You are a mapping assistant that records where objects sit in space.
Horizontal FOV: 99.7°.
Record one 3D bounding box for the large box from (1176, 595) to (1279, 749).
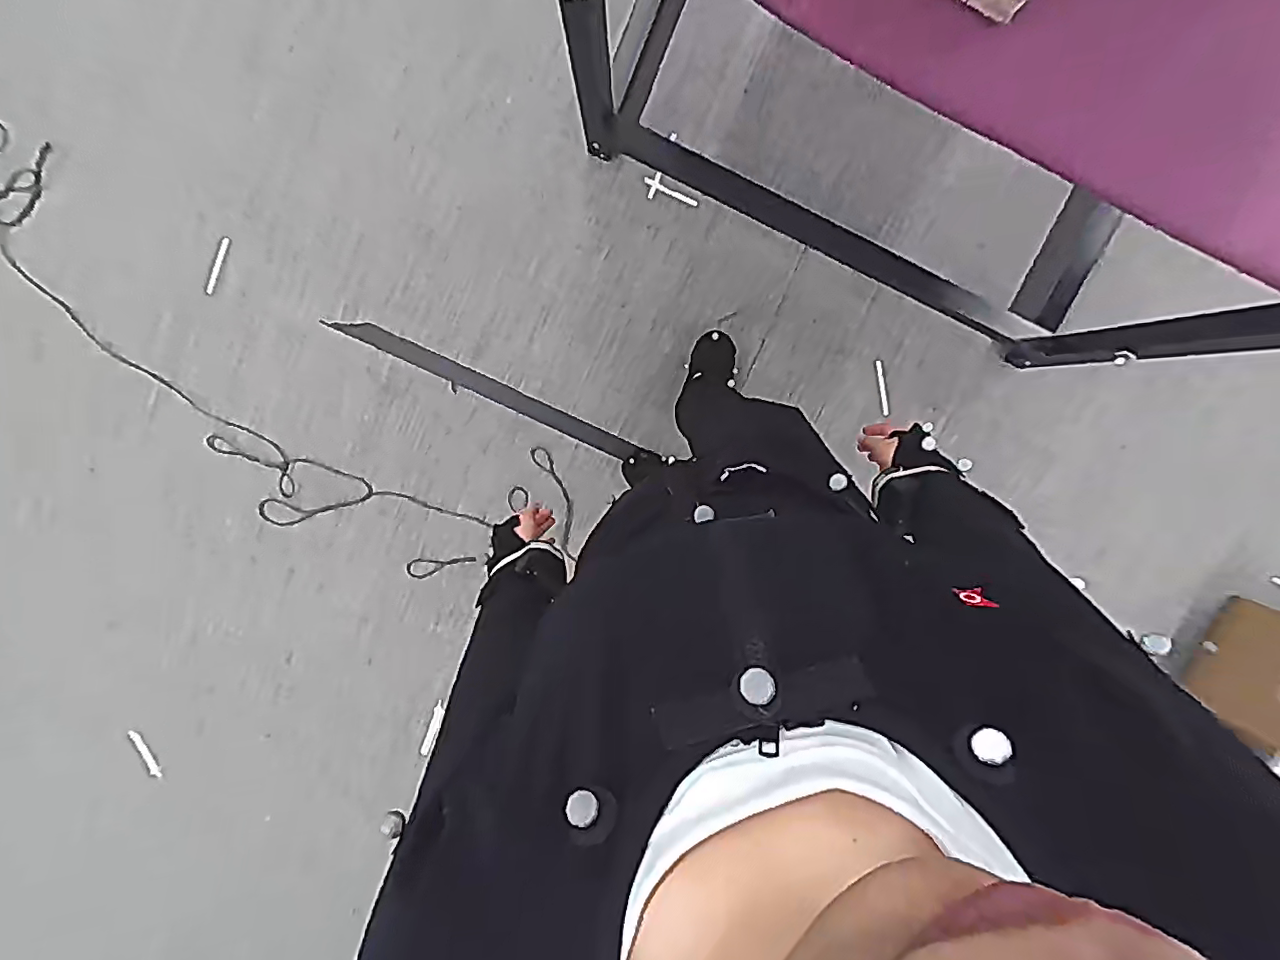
[{"bbox_3d":[1.708,0.537,1.330,0.408,0.320,0.320,23,97,-3],"label":"large box"}]
